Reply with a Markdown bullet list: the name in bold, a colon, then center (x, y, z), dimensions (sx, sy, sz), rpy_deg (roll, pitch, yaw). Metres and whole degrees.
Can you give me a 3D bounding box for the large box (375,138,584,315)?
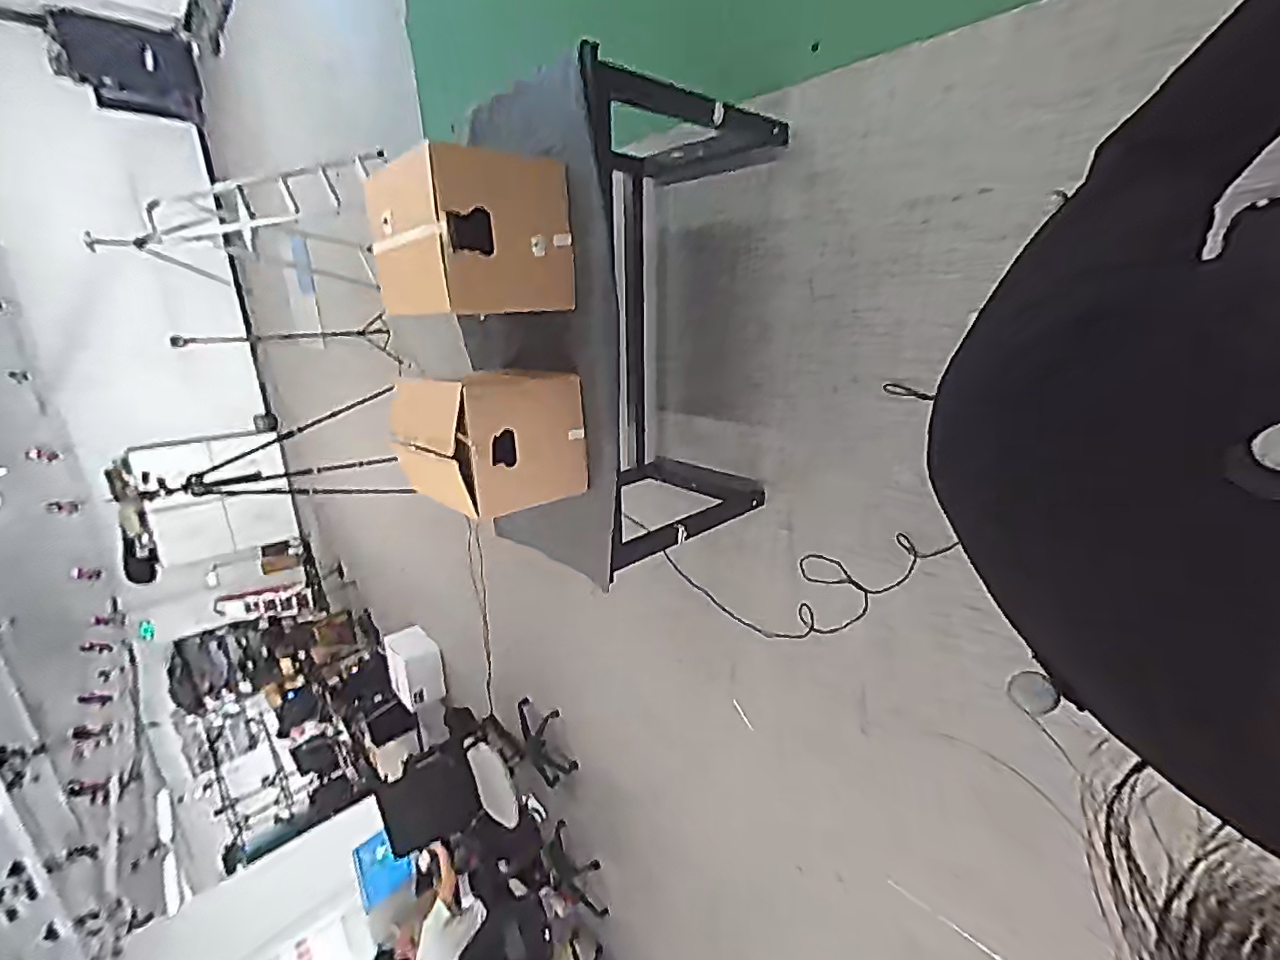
- **large box**: center (-0.379, -0.566, 1.281), dimensions (0.408, 0.320, 0.320), rpy_deg (18, 116, 46)
